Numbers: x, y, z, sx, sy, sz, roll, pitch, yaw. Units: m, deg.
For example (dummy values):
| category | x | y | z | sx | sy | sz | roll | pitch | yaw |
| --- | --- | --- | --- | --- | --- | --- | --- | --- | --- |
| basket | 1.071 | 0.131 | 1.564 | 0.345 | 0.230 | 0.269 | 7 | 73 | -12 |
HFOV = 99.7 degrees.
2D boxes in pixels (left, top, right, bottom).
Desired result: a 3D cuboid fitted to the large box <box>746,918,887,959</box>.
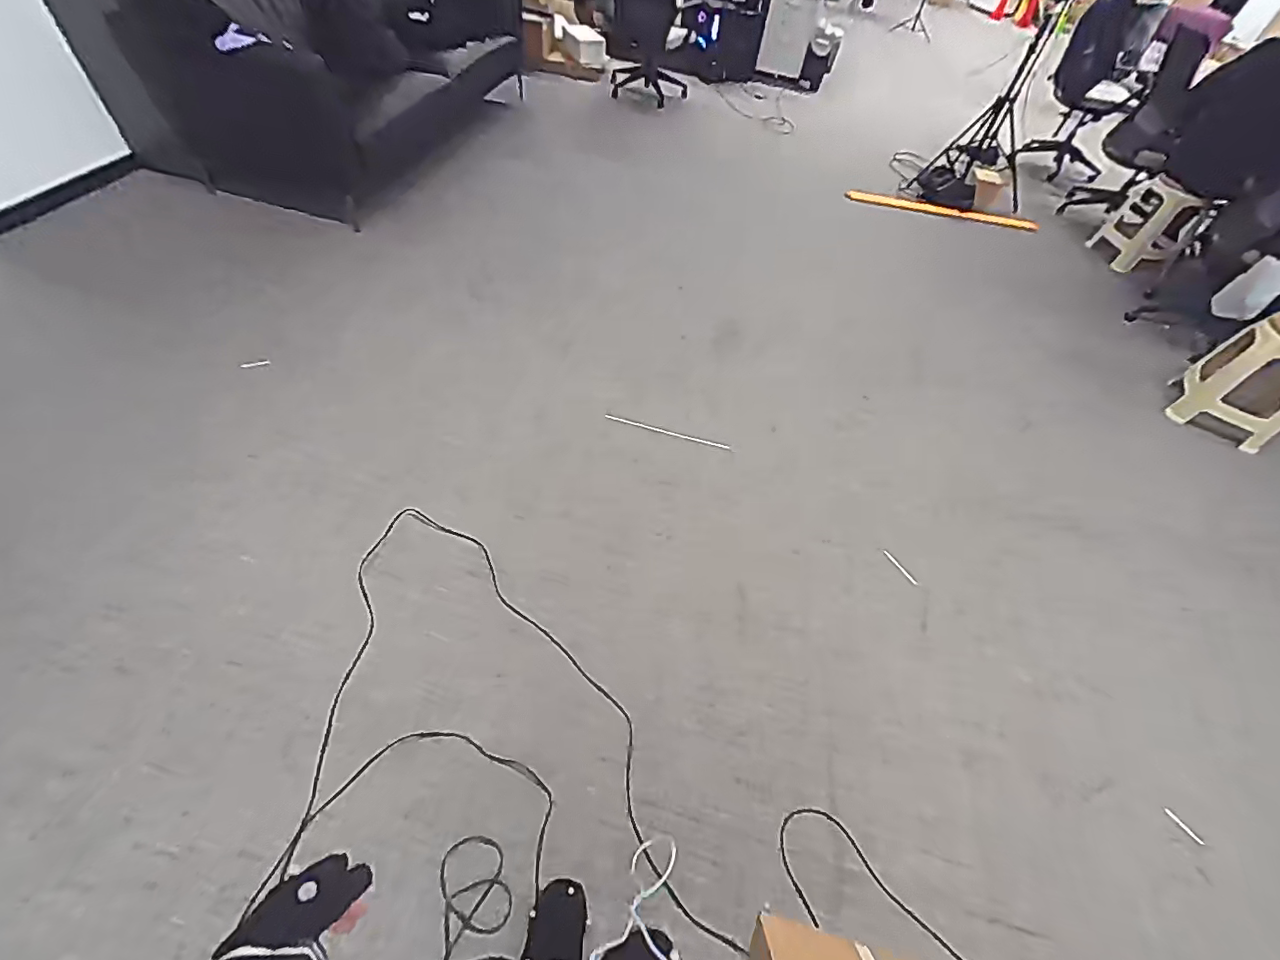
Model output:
| category | x | y | z | sx | sy | sz | roll | pitch | yaw |
| --- | --- | --- | --- | --- | --- | --- | --- | --- | --- |
| large box | 0.277 | 0.838 | 0.612 | 0.320 | 0.408 | 0.320 | 19 | 84 | 3 |
